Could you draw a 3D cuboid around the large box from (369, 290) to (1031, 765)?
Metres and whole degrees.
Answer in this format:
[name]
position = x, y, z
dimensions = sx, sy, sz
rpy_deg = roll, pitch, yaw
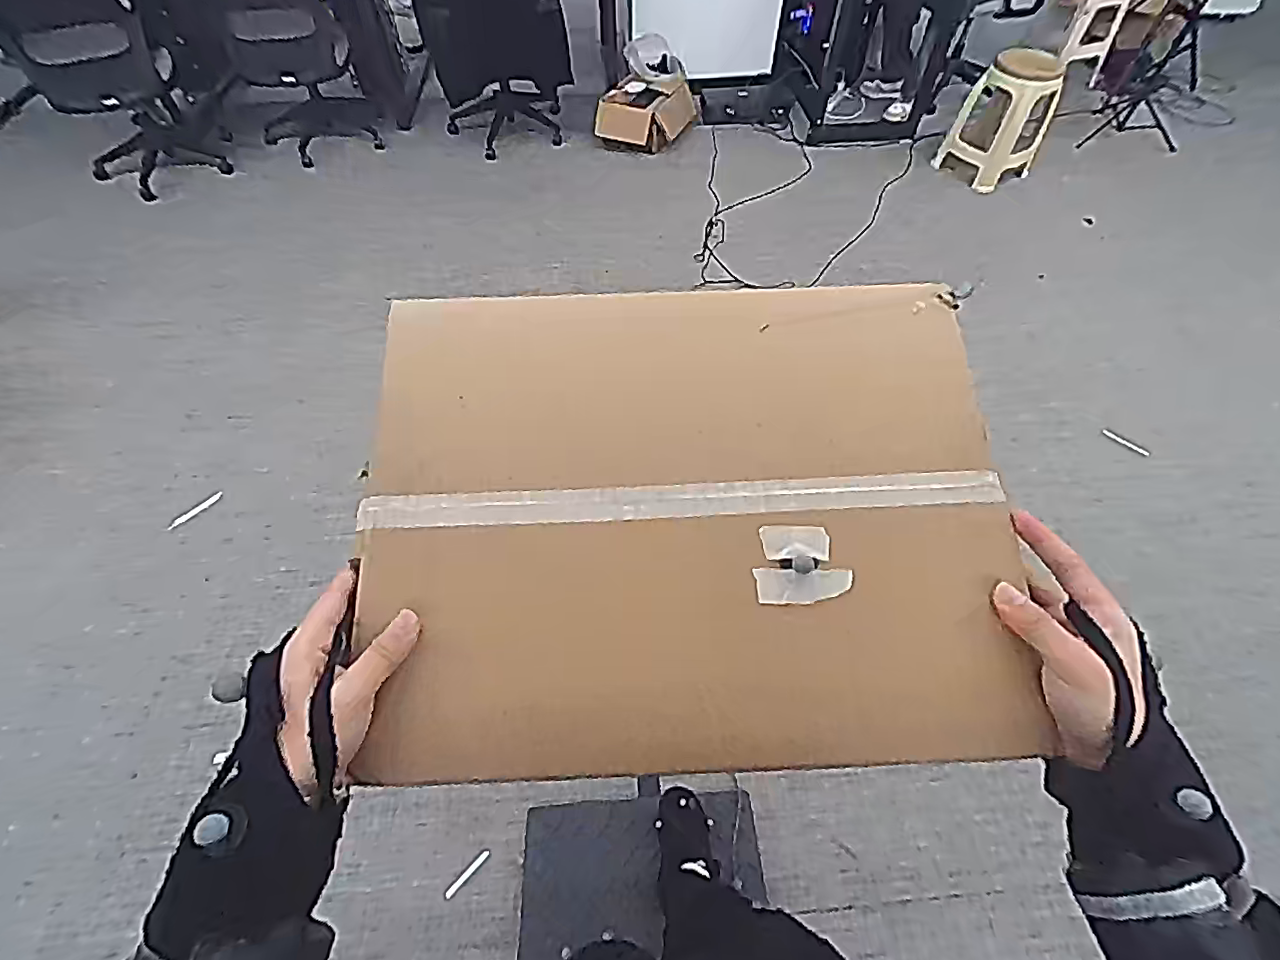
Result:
[large box]
position = 0.028, 0.055, 0.504
dimensions = 0.408, 0.320, 0.320
rpy_deg = -2, 73, -1

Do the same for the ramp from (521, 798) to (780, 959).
[ramp]
position = 0.032, 1.072, 0.841
dimensions = 0.509, 0.206, 0.991
rpy_deg = -6, 55, -1
